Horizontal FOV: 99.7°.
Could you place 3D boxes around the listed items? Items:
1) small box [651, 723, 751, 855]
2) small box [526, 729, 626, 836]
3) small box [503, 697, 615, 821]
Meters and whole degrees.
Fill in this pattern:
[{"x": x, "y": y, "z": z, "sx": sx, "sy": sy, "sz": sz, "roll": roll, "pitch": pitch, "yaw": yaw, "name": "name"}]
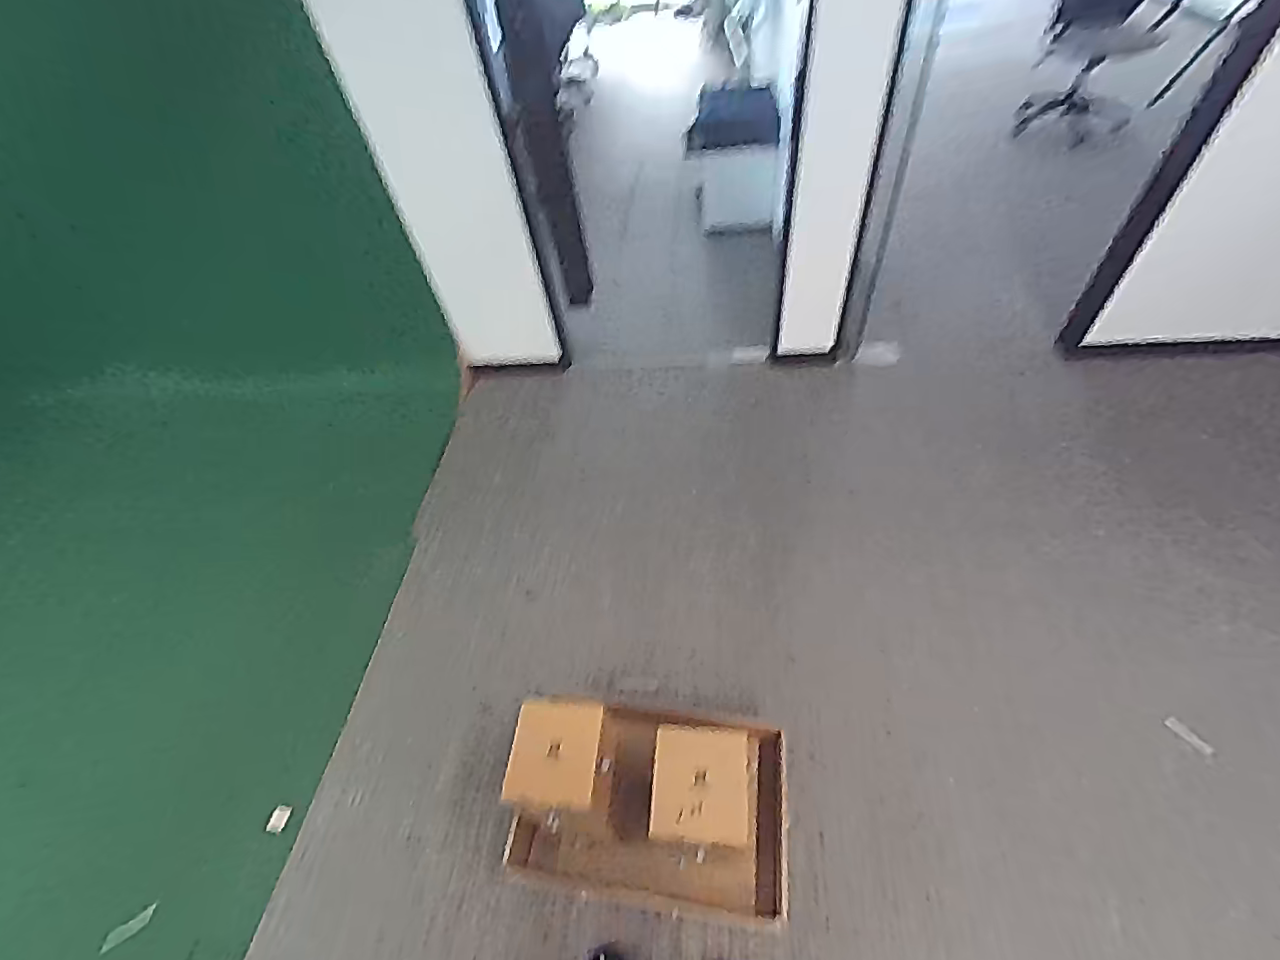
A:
[{"x": 0.118, "y": 0.569, "z": 0.997, "sx": 0.168, "sy": 0.176, "sz": 0.179, "roll": 0, "pitch": 51, "yaw": 10, "name": "small box"}, {"x": -0.130, "y": 0.653, "z": 1.181, "sx": 0.168, "sy": 0.176, "sz": 0.179, "roll": 1, "pitch": 49, "yaw": 10, "name": "small box"}, {"x": -0.147, "y": 0.547, "z": 1.059, "sx": 0.168, "sy": 0.176, "sz": 0.179, "roll": 1, "pitch": 51, "yaw": 8, "name": "small box"}]
